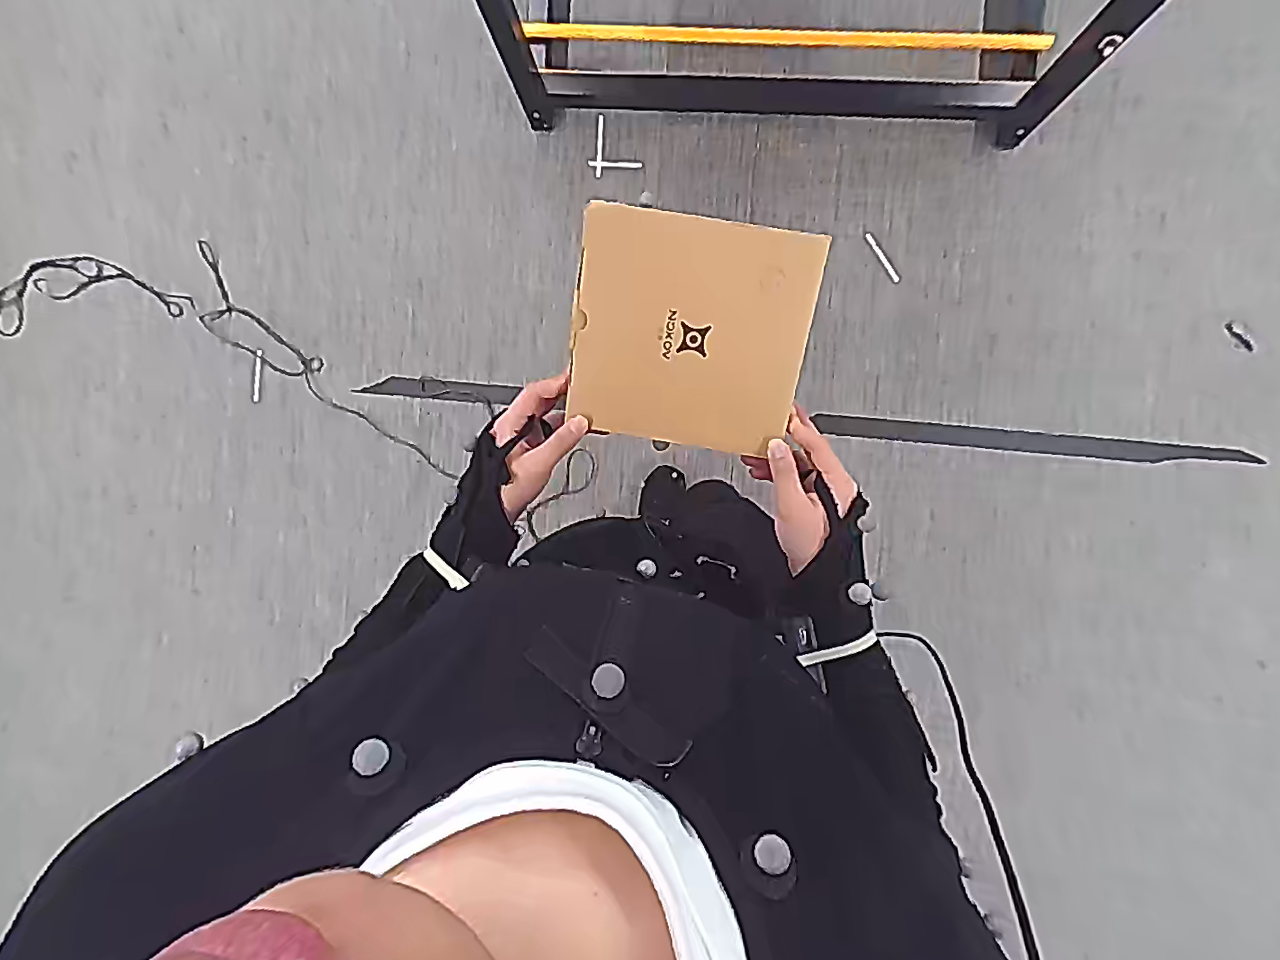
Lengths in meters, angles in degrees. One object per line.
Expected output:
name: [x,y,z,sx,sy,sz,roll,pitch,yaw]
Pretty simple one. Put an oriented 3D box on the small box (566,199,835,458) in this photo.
small box: [0.045,-0.131,0.474,0.179,0.176,0.168,10,108,3]
